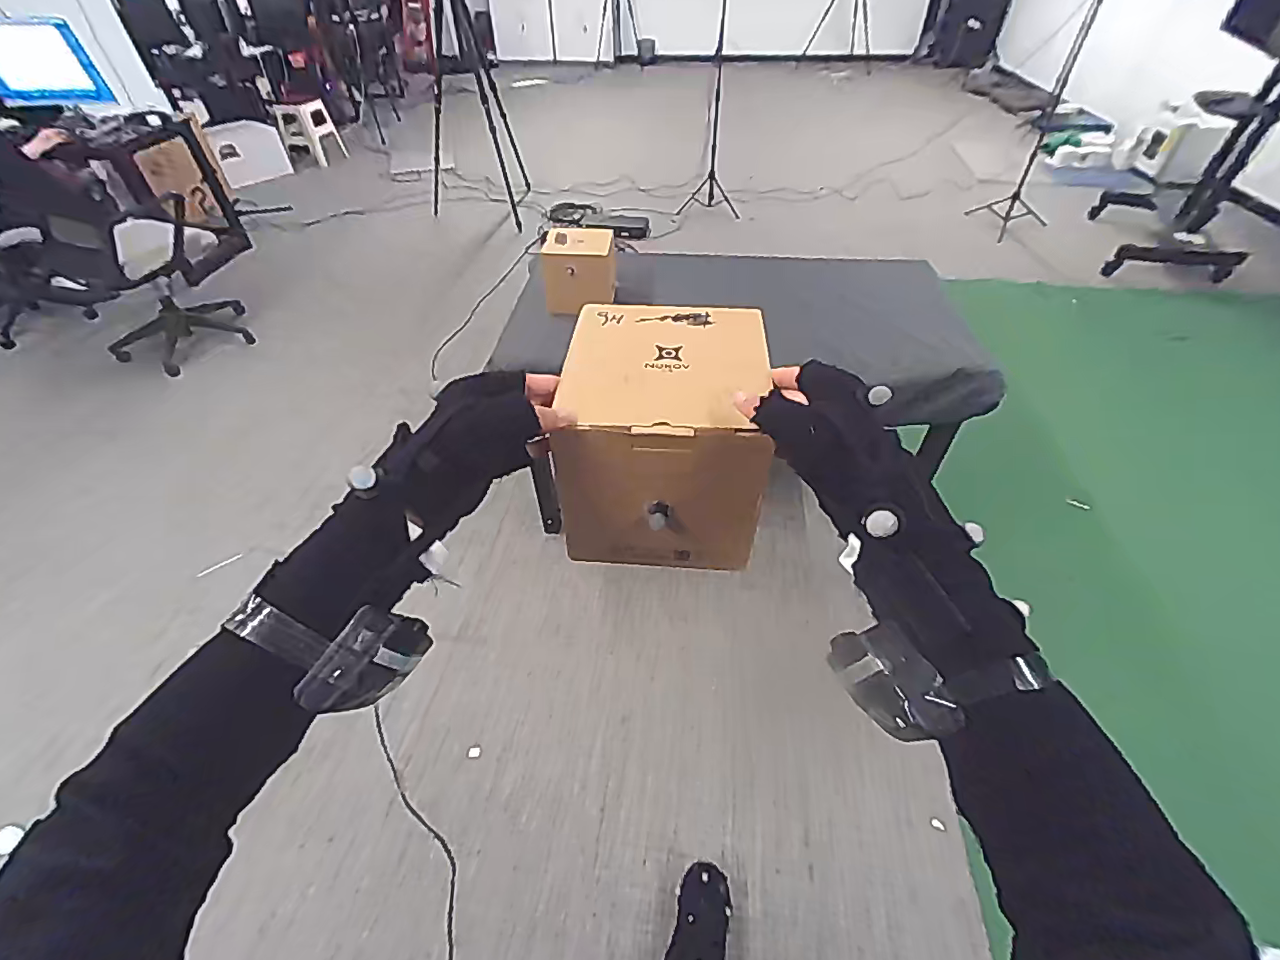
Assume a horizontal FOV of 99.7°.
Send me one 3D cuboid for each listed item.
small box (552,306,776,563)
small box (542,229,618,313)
[{"bbox_3d":[0.025,-0.040,0.500,0.168,0.176,0.179,3,47,3],"label":"small box"},{"bbox_3d":[-0.155,-0.563,1.468,0.179,0.176,0.168,3,46,2],"label":"small box"}]
